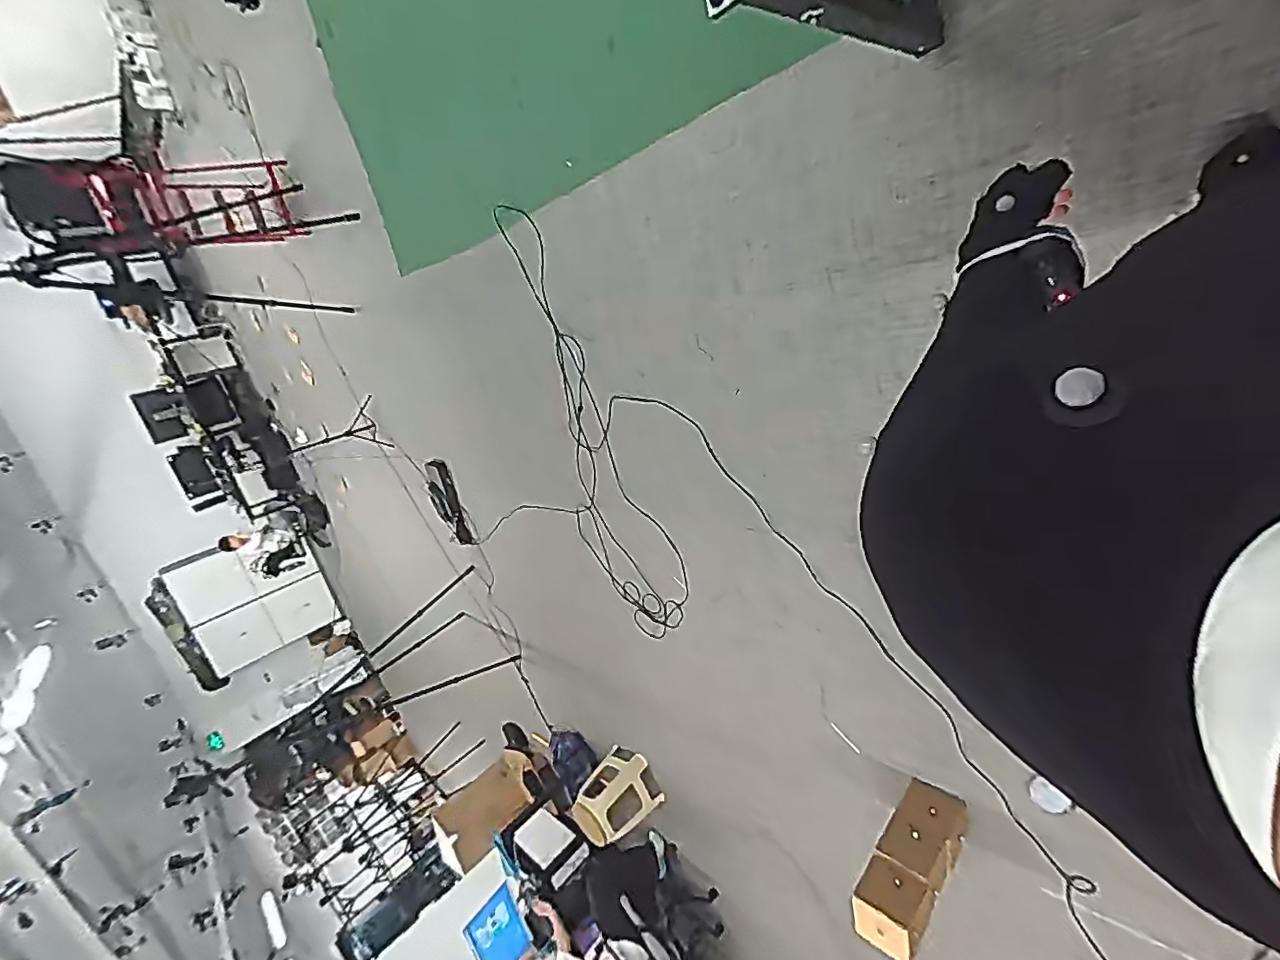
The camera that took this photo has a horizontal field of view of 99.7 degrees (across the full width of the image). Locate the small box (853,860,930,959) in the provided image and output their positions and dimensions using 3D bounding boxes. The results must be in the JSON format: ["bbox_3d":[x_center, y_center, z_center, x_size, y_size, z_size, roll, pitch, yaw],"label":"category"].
[{"bbox_3d":[0.772,1.329,1.653,0.168,0.176,0.179,8,117,45],"label":"small box"}]

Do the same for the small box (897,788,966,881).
[{"bbox_3d":[0.999,1.201,1.850,0.179,0.176,0.168,7,117,45],"label":"small box"}]

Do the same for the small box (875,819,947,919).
[{"bbox_3d":[0.881,1.261,1.752,0.168,0.176,0.179,8,117,45],"label":"small box"}]
